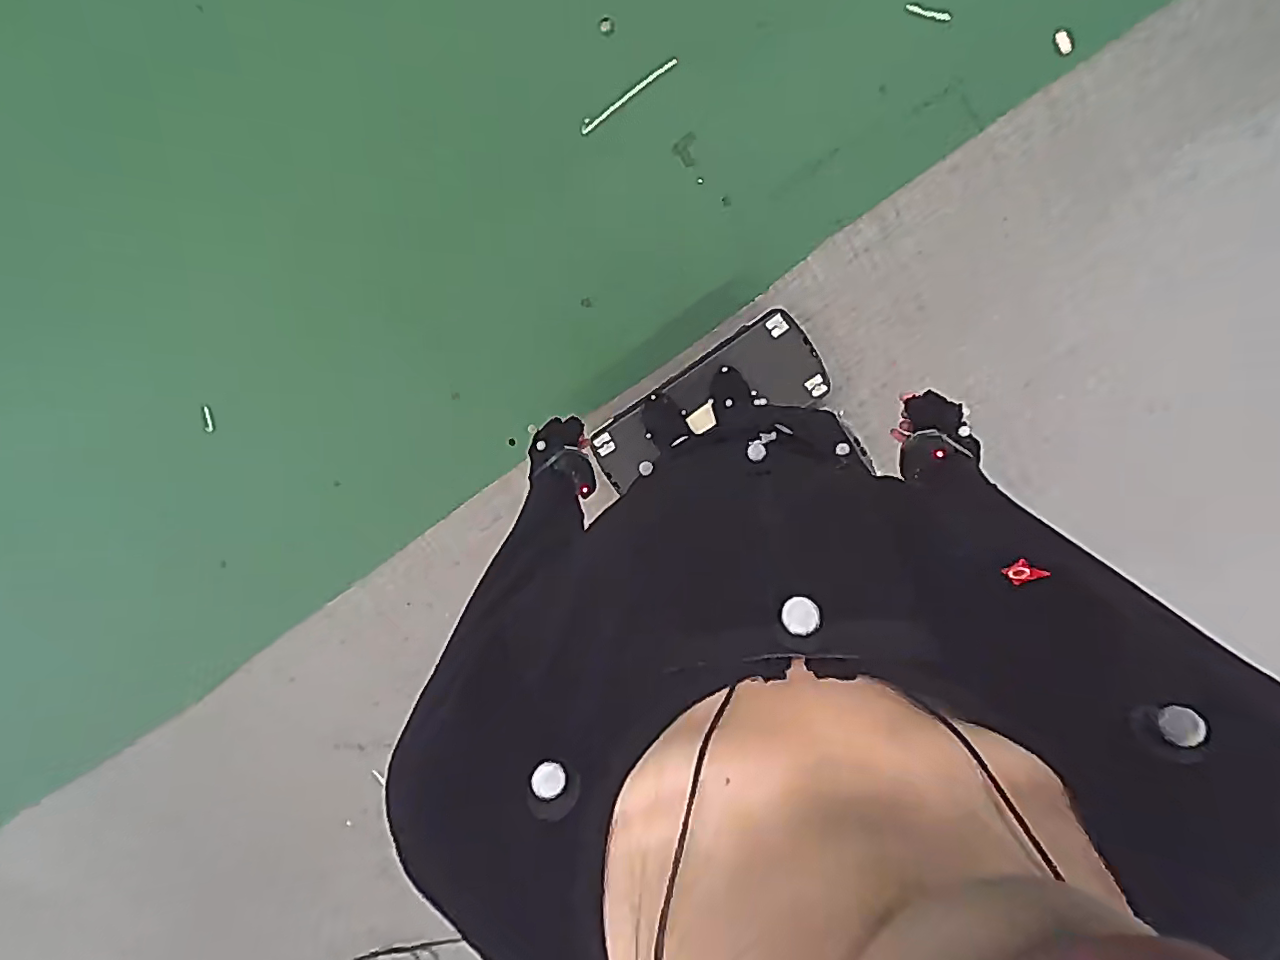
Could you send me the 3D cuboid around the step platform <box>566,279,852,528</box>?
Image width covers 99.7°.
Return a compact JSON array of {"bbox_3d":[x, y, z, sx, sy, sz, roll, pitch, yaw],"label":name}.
[{"bbox_3d":[0.155,-0.184,1.348,0.684,0.204,0.286,-35,99,8],"label":"step platform"}]
